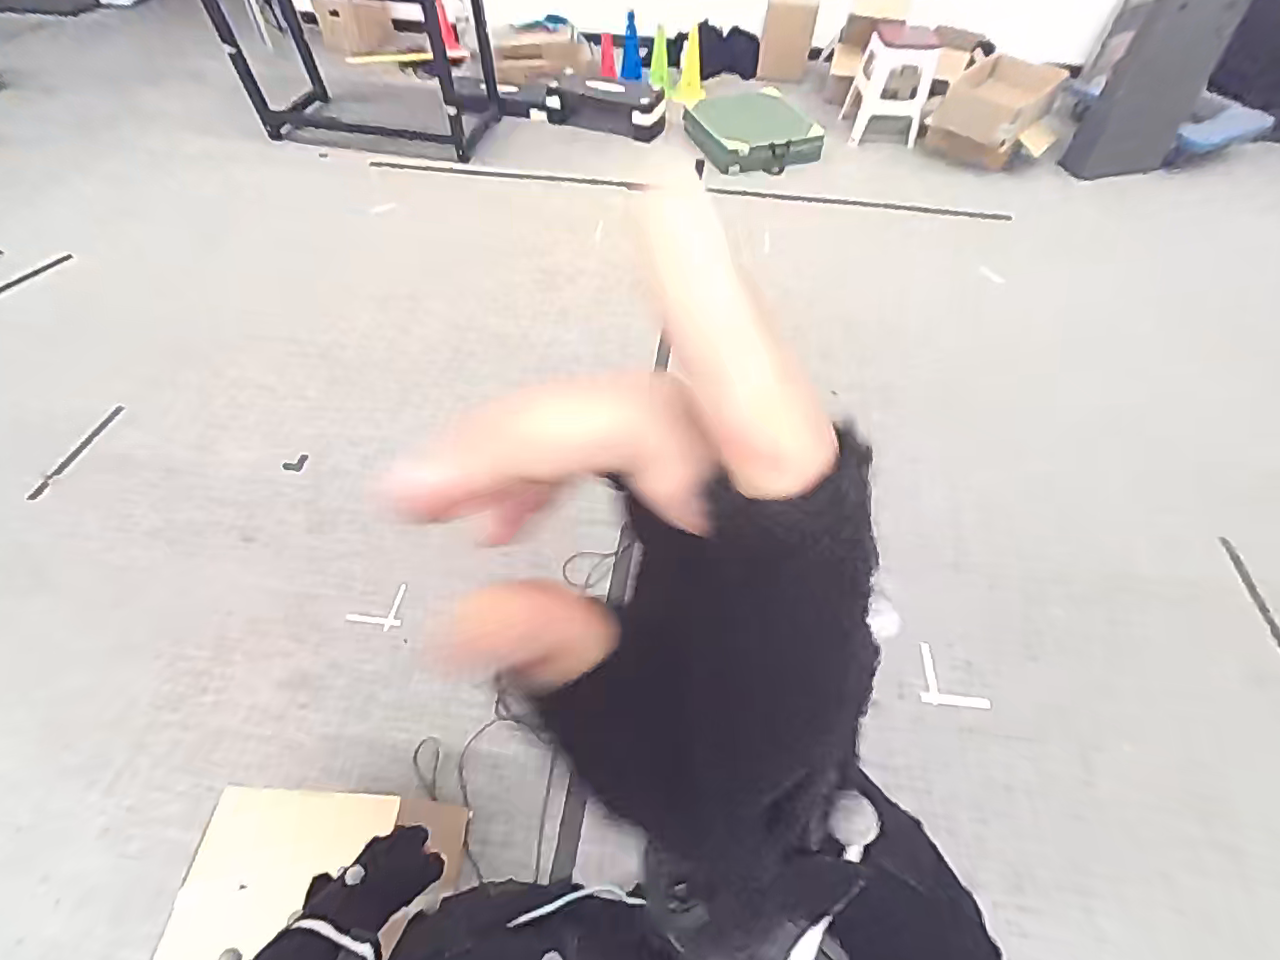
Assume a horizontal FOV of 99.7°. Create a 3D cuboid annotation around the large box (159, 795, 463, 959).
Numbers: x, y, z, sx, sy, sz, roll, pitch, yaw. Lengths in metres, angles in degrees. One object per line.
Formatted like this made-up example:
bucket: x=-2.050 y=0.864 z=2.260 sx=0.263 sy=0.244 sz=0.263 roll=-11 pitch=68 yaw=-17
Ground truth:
large box: x=-0.564 y=0.772 z=0.996 sx=0.320 sy=0.408 sz=0.320 roll=3 pitch=56 yaw=3
